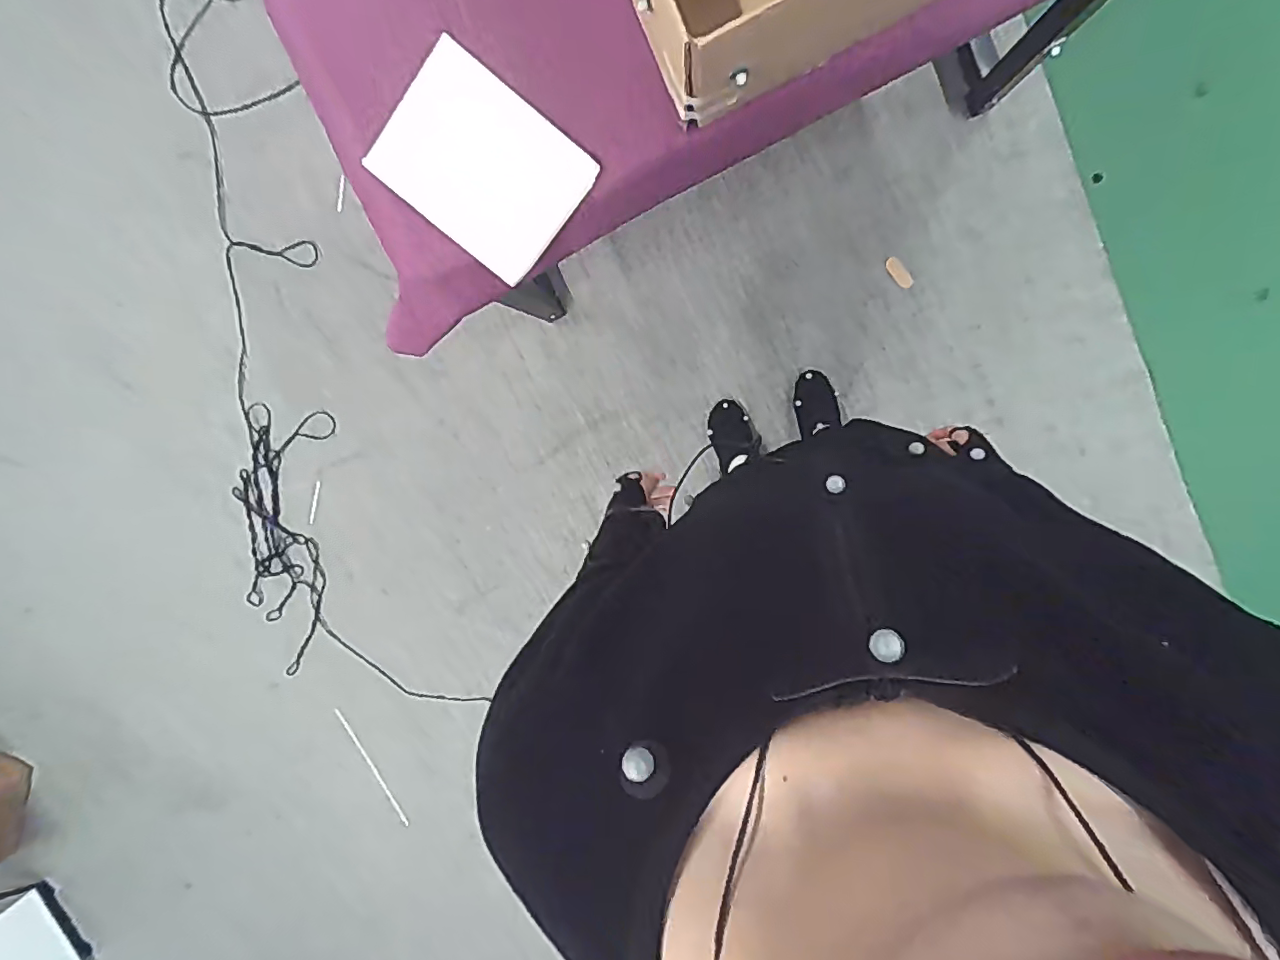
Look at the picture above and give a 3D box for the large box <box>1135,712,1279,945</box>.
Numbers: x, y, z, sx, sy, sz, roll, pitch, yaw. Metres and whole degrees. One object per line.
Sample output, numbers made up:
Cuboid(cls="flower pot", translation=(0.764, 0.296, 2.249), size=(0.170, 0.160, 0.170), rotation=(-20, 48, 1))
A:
Cuboid(cls="large box", translation=(1.593, 0.867, 1.325), size=(0.408, 0.320, 0.320), rotation=(-39, 94, 10))
